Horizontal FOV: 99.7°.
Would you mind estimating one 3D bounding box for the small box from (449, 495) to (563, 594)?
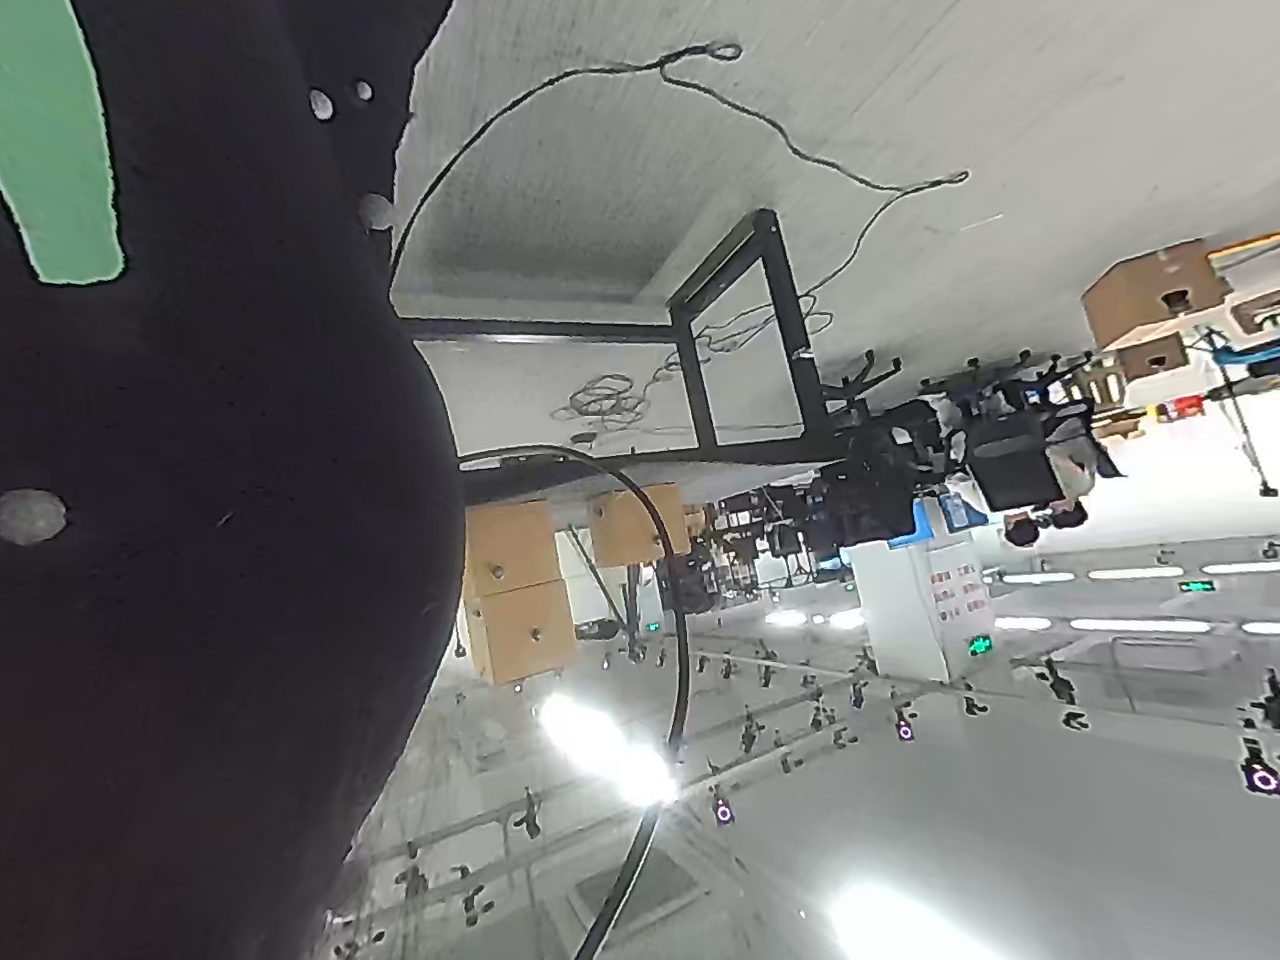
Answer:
[{"bbox_3d":[-0.283,0.133,1.114,0.179,0.176,0.168,-8,174,-32],"label":"small box"}]

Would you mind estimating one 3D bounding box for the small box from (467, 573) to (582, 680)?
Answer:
[{"bbox_3d":[-0.245,0.293,1.115,0.179,0.176,0.168,-9,174,-31],"label":"small box"}]

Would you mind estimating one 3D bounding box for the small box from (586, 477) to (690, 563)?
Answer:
[{"bbox_3d":[-0.009,0.093,1.267,0.179,0.176,0.168,-7,172,-27],"label":"small box"}]
